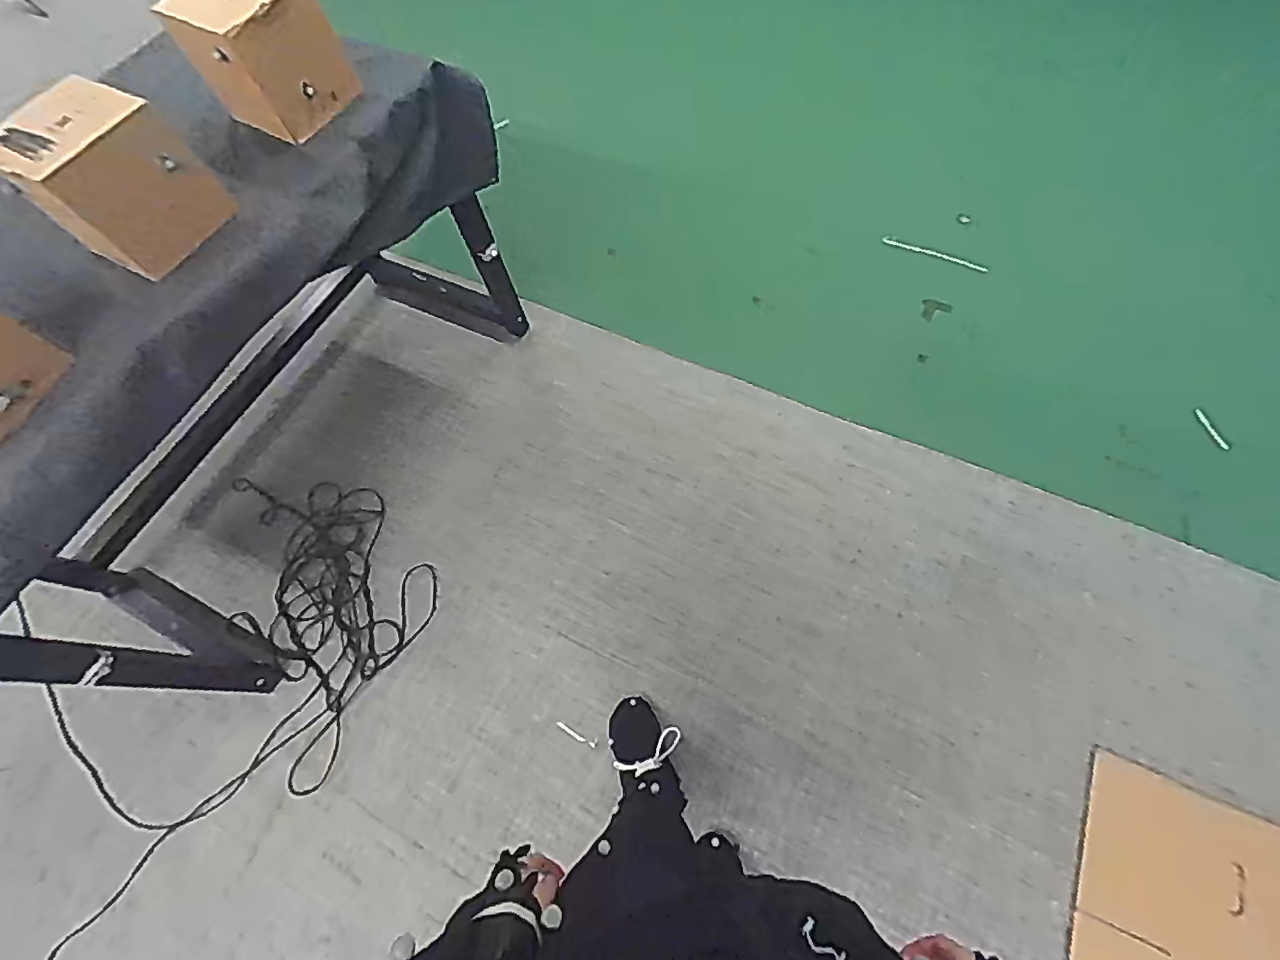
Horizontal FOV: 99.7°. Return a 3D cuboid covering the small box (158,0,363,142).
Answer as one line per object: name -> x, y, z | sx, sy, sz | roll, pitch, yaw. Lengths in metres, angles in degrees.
small box -> -0.610, -0.698, 0.891 | 0.179, 0.176, 0.168 | 27, 72, 16

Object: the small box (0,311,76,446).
small box -> -0.902, -0.157, 0.679 | 0.179, 0.176, 0.168 | 17, 70, 11
